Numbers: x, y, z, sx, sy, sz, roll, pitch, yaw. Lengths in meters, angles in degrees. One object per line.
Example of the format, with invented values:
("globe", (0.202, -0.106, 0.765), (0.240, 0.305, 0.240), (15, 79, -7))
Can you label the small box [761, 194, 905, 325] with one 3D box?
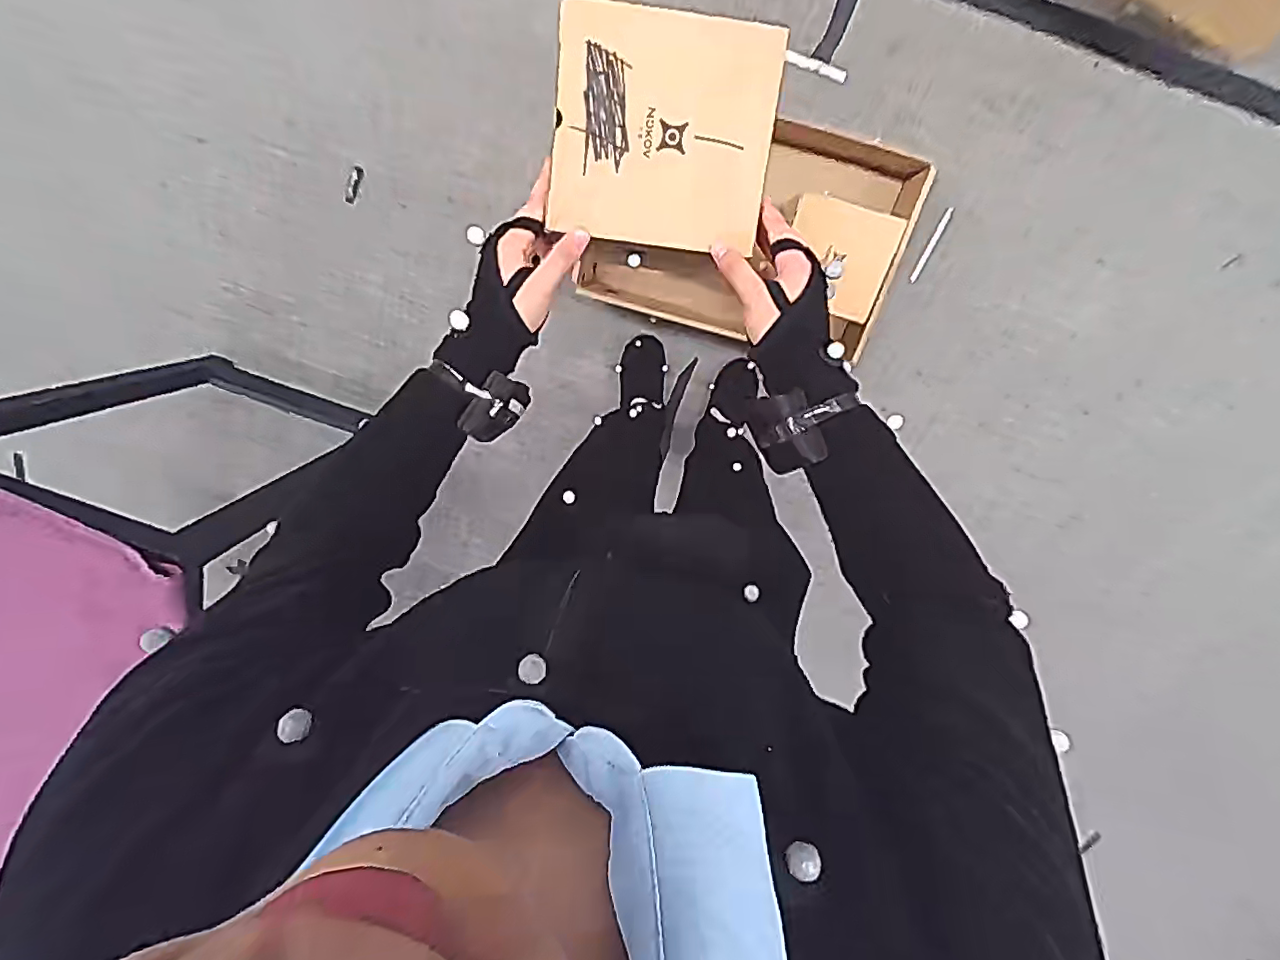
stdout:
("small box", (0.328, -0.390, 0.961), (0.179, 0.176, 0.168), (17, 113, 1))
